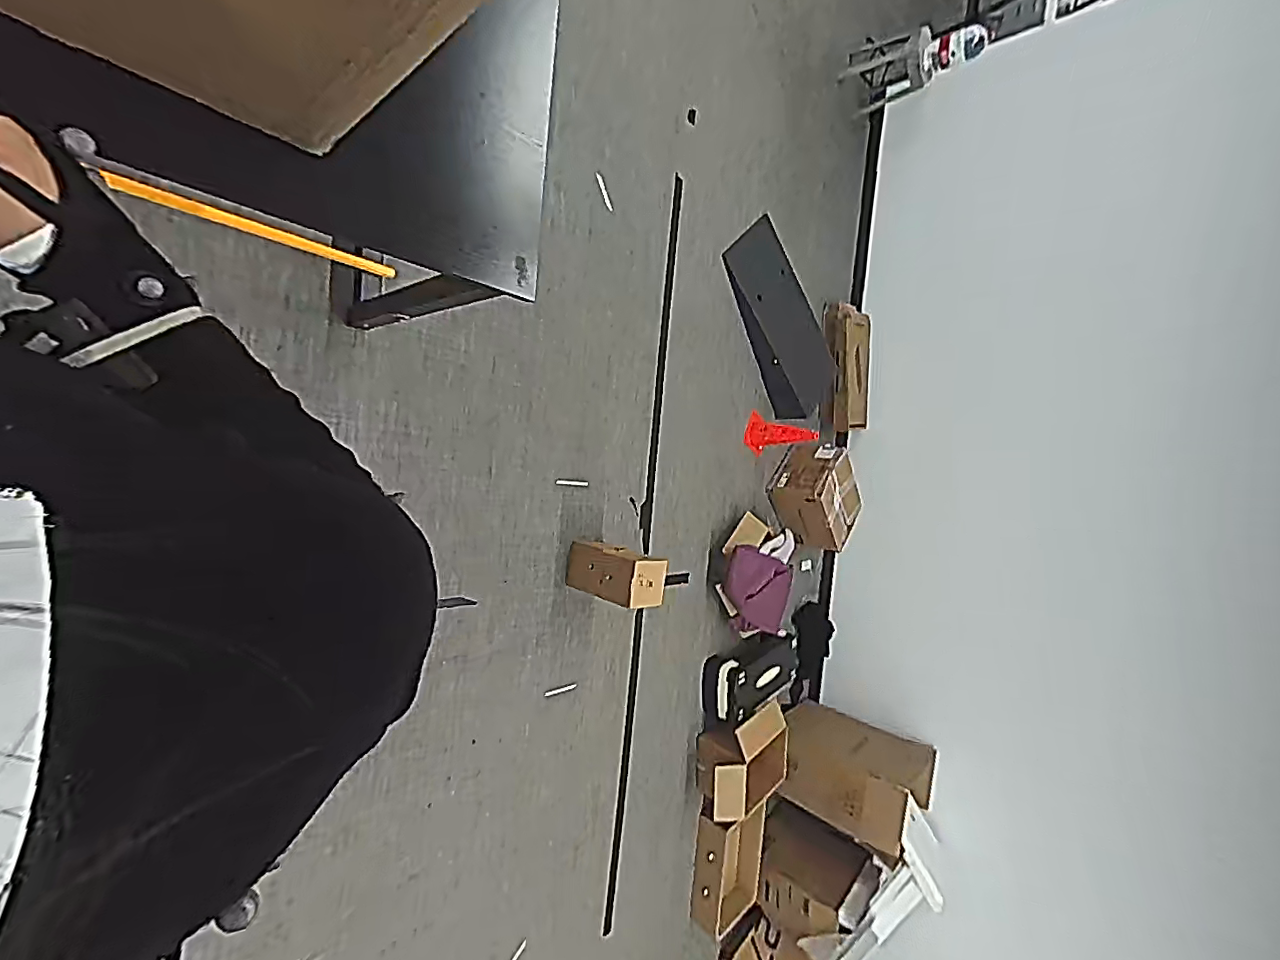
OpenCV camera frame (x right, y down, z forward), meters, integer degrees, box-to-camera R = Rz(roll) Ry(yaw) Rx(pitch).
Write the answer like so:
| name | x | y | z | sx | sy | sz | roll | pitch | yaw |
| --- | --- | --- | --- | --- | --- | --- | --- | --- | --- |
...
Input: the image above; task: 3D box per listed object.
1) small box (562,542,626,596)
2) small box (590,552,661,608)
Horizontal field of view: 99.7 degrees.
| name | x | y | z | sx | sy | sz | roll | pitch | yaw |
| --- | --- | --- | --- | --- | --- | --- | --- | --- | --- |
| small box | -0.176 | 0.333 | 2.048 | 0.168 | 0.176 | 0.179 | 10 | 89 | -48 |
| small box | -0.052 | 0.356 | 1.943 | 0.179 | 0.176 | 0.168 | 10 | 88 | -48 |
